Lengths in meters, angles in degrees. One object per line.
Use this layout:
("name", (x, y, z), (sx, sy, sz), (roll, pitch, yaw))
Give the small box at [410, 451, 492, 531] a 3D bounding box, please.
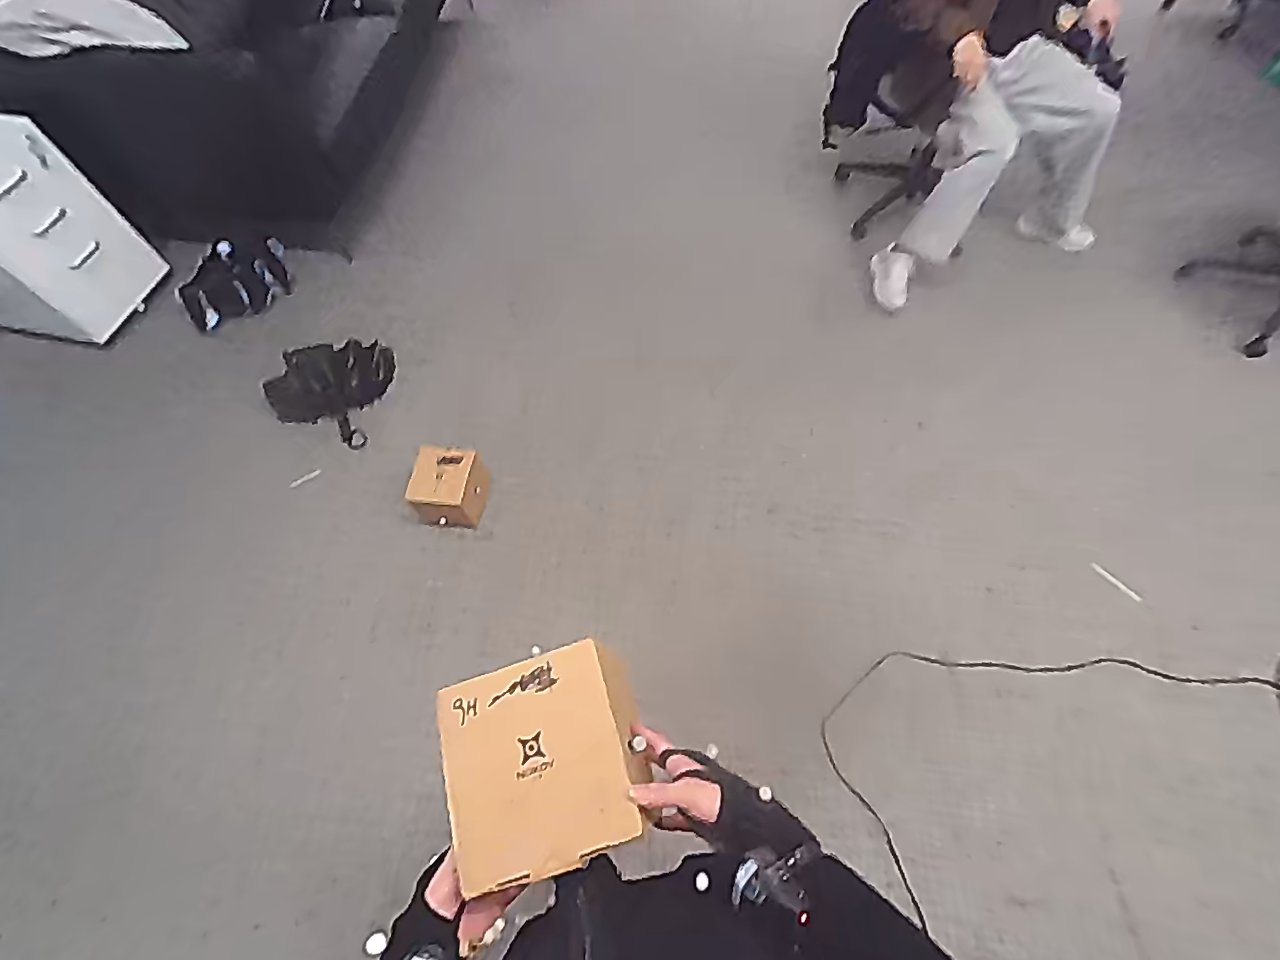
("small box", (-0.557, 0.036, 1.621), (0.168, 0.176, 0.179), (5, 63, 5))
